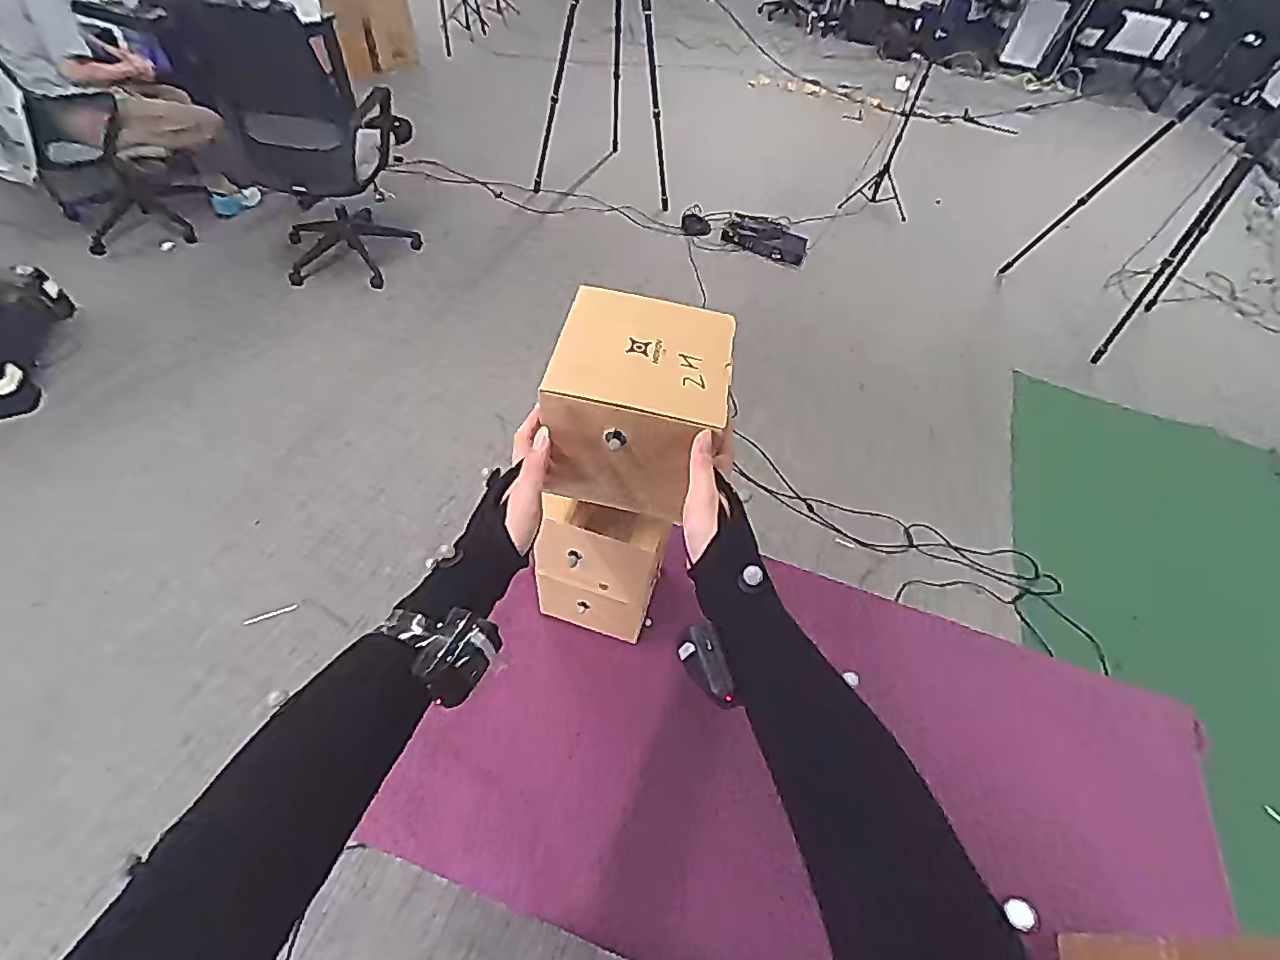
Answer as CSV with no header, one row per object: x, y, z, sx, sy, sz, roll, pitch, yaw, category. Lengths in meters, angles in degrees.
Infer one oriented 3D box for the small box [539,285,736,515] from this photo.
-0.005,-0.081,0.596,0.179,0.176,0.168,12,54,-2,small box

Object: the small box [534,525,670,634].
-0.061,0.139,0.906,0.179,0.176,0.168,16,53,6,small box

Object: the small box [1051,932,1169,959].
0.609,0.642,0.605,0.179,0.176,0.168,23,52,10,small box

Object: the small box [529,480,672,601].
-0.042,0.047,0.774,0.168,0.176,0.179,17,52,6,small box
